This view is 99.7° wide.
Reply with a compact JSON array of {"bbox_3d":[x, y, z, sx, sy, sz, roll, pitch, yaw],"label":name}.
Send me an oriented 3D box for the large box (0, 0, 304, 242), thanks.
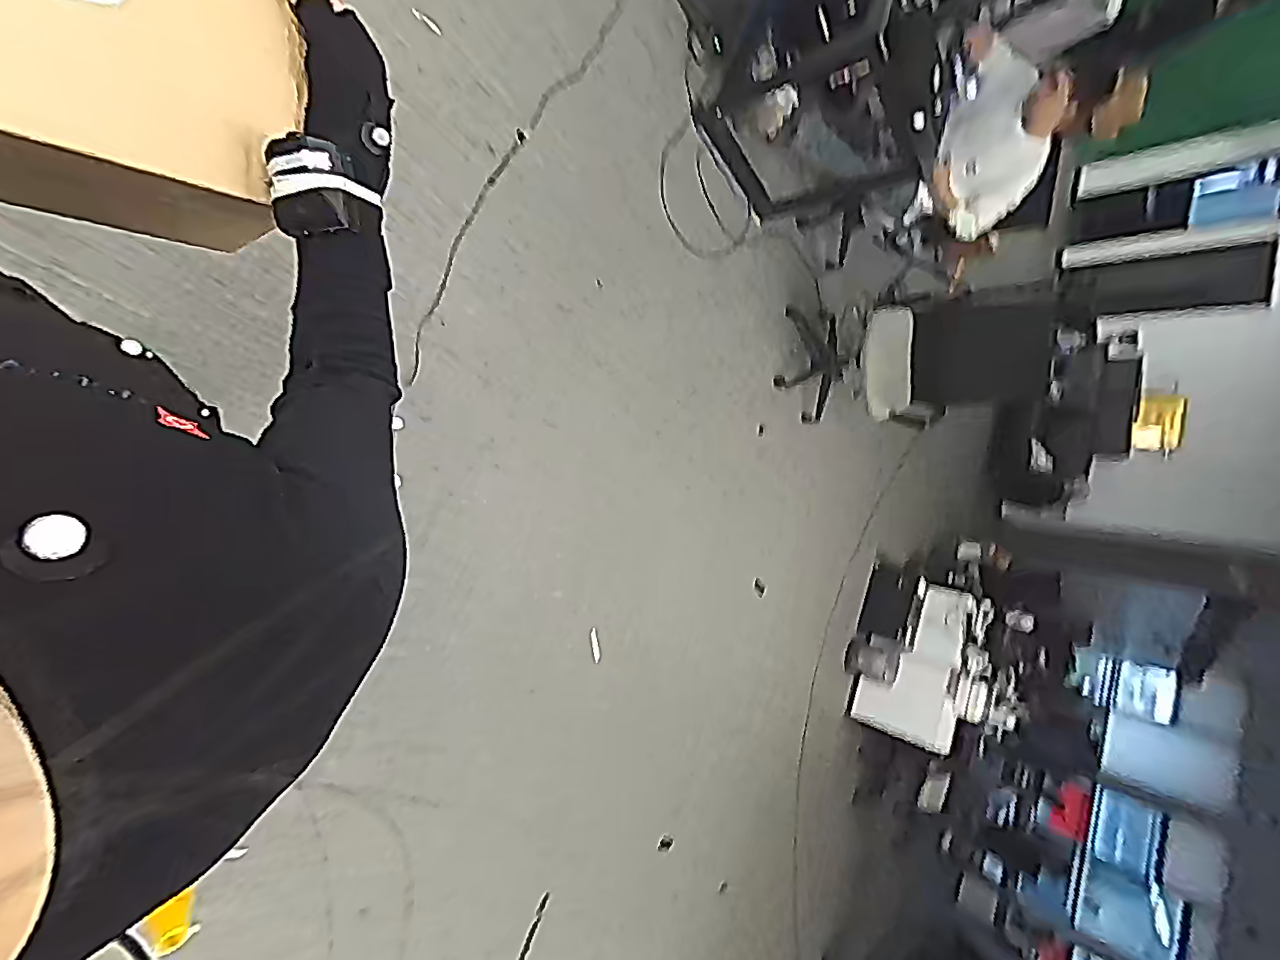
[{"bbox_3d":[-0.512,-0.394,0.382,0.408,0.320,0.320,-4,104,-46],"label":"large box"}]
